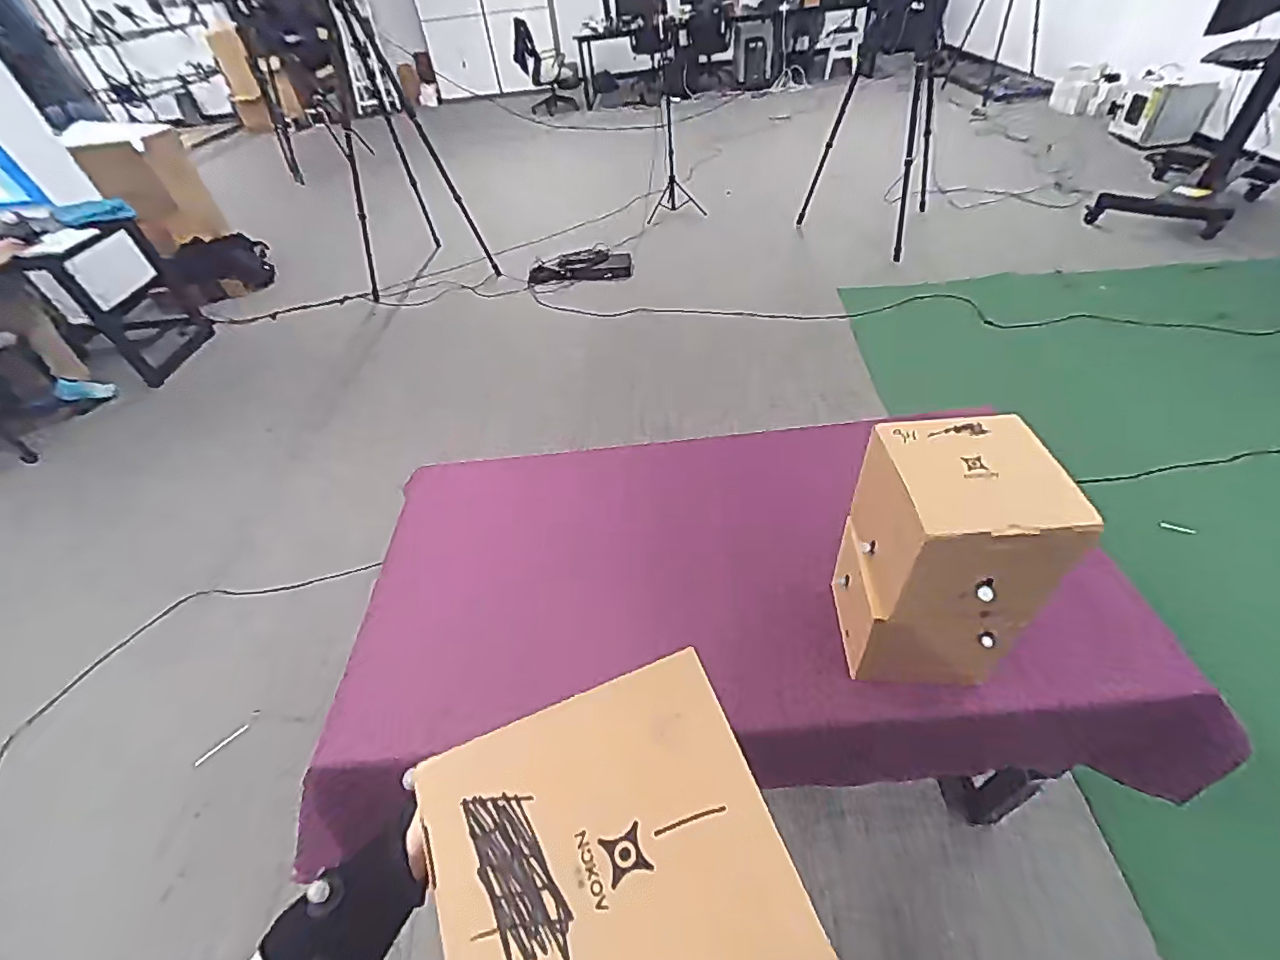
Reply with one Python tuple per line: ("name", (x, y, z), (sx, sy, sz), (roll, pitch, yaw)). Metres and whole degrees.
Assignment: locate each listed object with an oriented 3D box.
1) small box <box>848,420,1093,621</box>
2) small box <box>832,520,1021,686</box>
("small box", (0.358, 0.053, 0.630), (0.168, 0.176, 0.179), (-3, 45, 4))
("small box", (0.371, 0.170, 0.745), (0.179, 0.176, 0.168), (0, 45, 7))
